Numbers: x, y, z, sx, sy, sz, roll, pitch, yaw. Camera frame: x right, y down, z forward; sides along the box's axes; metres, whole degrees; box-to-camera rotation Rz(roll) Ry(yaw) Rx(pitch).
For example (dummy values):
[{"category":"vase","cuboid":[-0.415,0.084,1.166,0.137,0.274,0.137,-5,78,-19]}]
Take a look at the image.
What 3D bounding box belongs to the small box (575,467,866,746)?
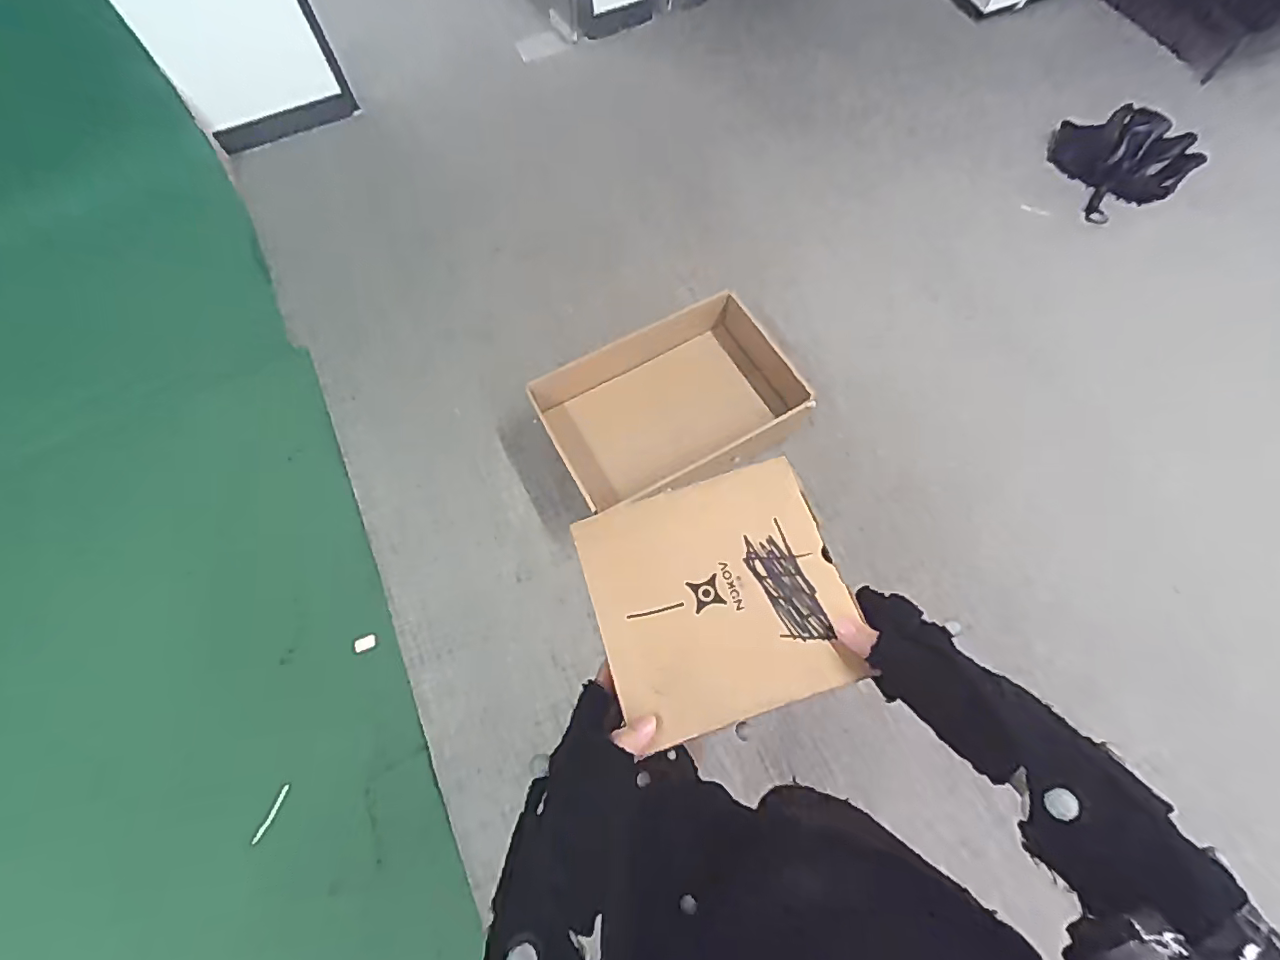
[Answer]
[{"category":"small box","cuboid":[0.055,0.114,0.469,0.179,0.176,0.168,-17,66,-5]}]
